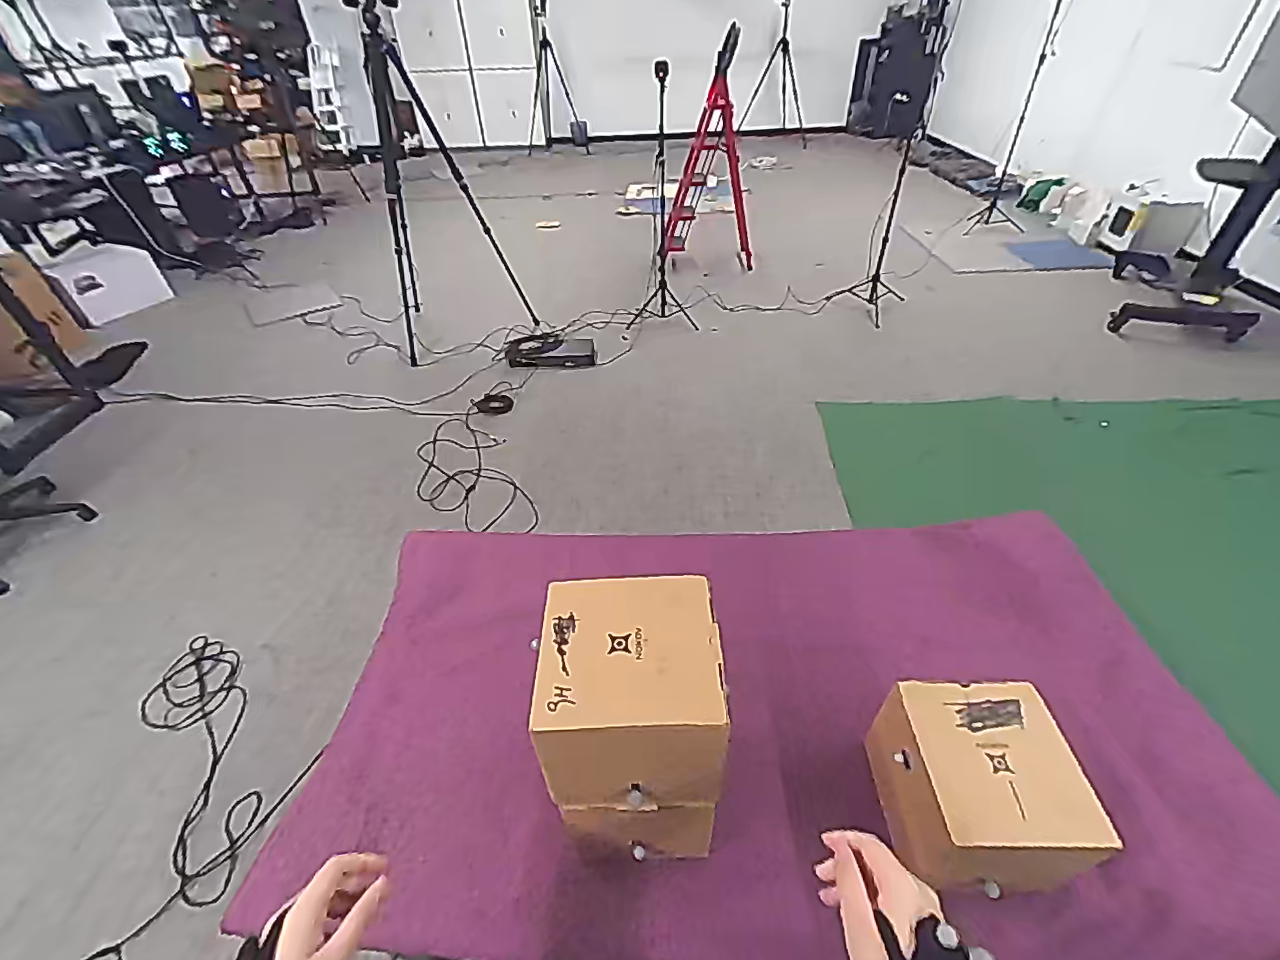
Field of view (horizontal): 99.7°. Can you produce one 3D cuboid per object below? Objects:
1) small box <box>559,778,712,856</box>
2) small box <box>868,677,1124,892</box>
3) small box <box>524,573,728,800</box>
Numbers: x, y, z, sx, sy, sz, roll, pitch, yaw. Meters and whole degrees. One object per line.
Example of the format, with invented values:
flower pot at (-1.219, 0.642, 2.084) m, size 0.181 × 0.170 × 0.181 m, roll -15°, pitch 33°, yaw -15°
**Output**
small box at (-0.003, 0.340, 0.675) m, size 0.168 × 0.176 × 0.179 m, roll -2°, pitch 40°, yaw 2°
small box at (0.390, 0.356, 0.638) m, size 0.168 × 0.176 × 0.179 m, roll -1°, pitch 41°, yaw 3°
small box at (-0.011, 0.215, 0.568) m, size 0.179 × 0.176 × 0.168 m, roll -1°, pitch 38°, yaw 0°
